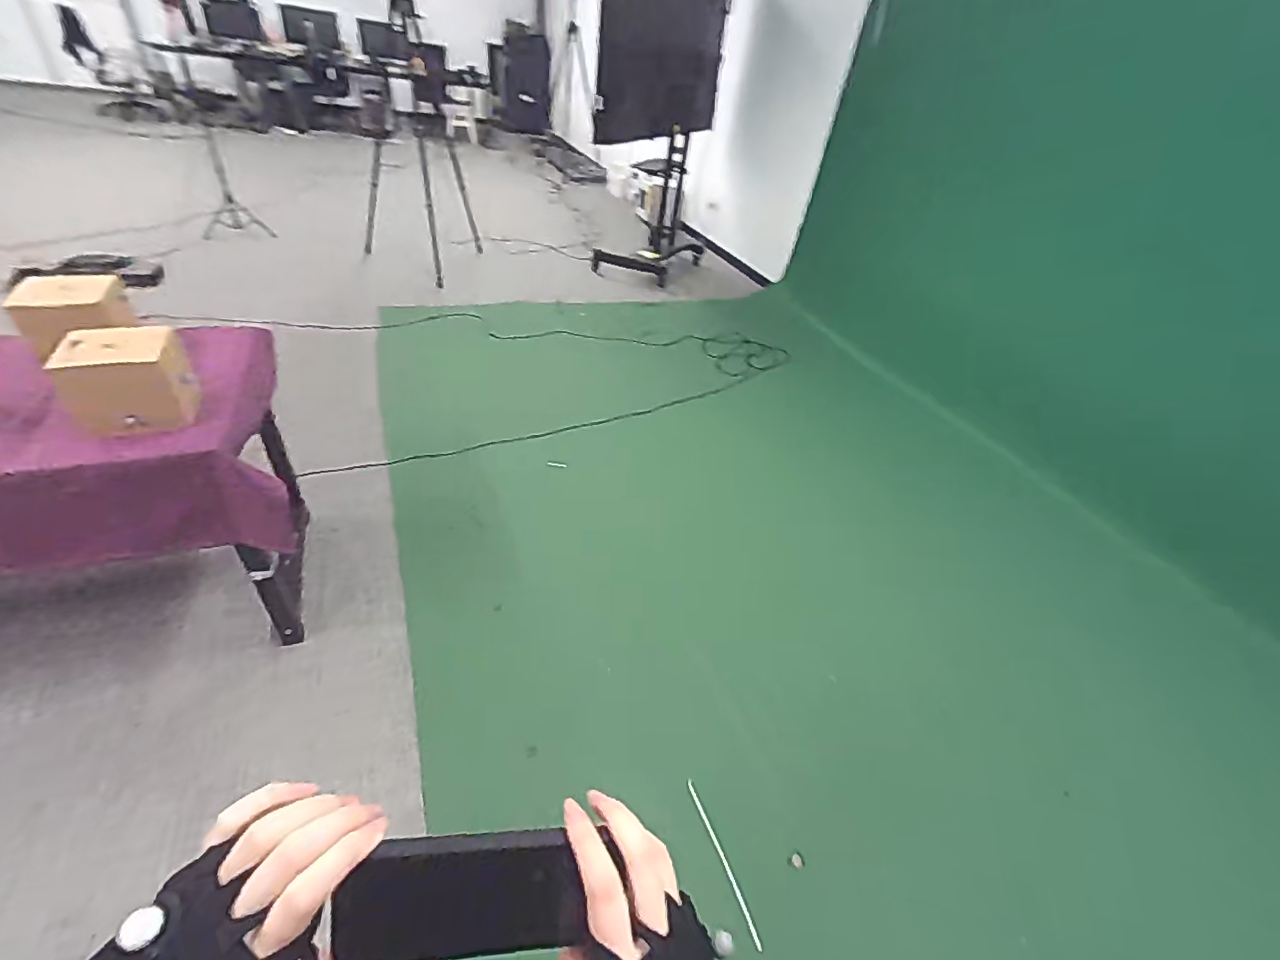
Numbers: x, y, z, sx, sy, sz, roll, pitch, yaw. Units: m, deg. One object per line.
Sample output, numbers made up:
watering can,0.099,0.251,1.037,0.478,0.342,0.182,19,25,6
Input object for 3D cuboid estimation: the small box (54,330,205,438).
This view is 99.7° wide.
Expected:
small box,-1.078,-0.208,1.165,0.179,0.176,0.168,-9,42,-22

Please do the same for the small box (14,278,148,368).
small box,-1.338,-0.378,1.317,0.168,0.176,0.179,-11,44,-23
